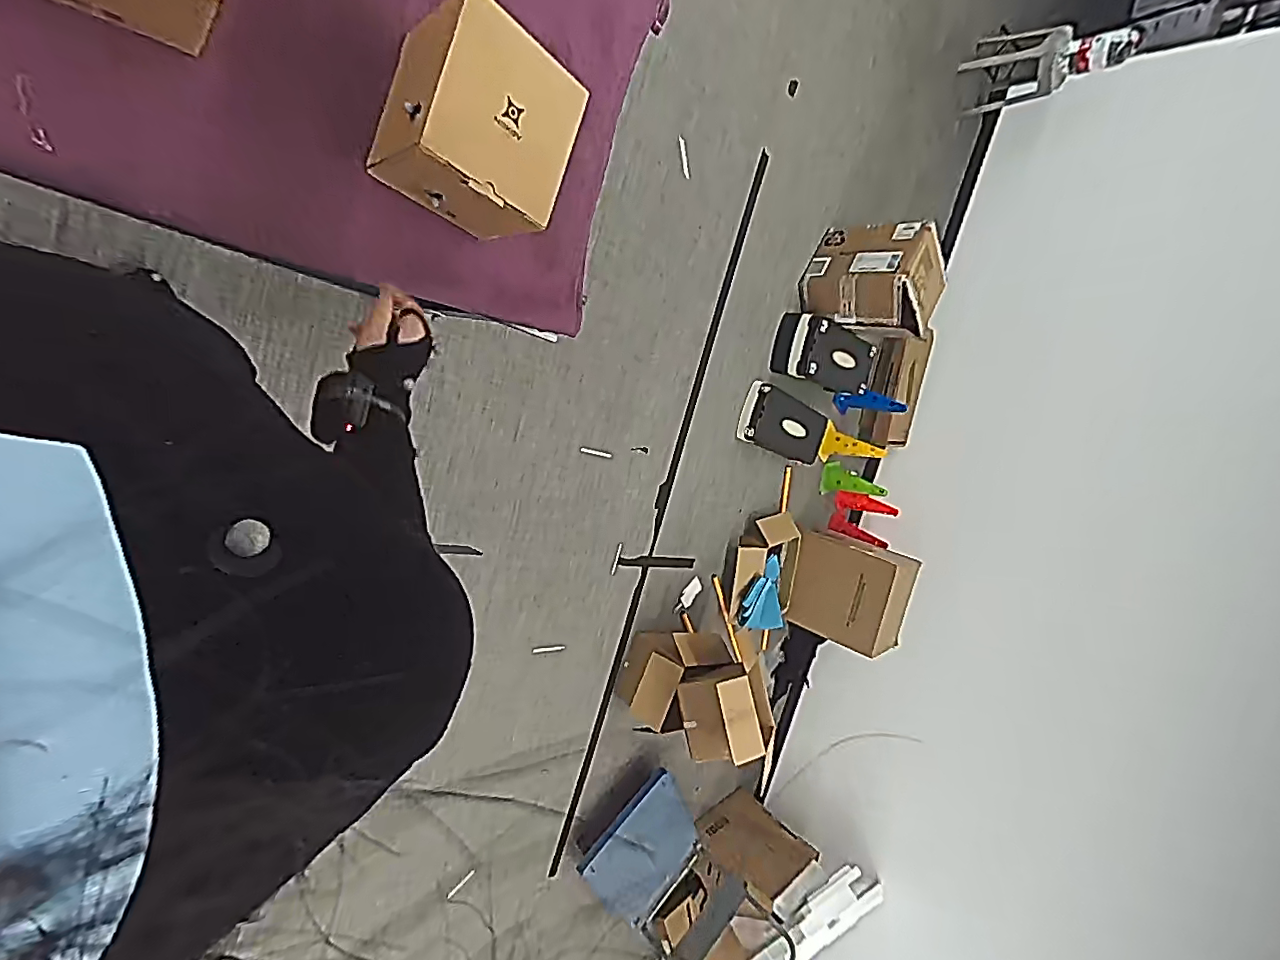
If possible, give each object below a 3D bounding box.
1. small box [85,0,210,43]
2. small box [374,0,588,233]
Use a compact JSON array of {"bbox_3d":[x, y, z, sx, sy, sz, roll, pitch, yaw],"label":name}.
[{"bbox_3d":[-0.428,-0.481,0.407,0.168,0.176,0.179,-2,107,-45],"label":"small box"},{"bbox_3d":[-0.197,-0.426,0.657,0.168,0.176,0.179,16,93,-46],"label":"small box"}]
